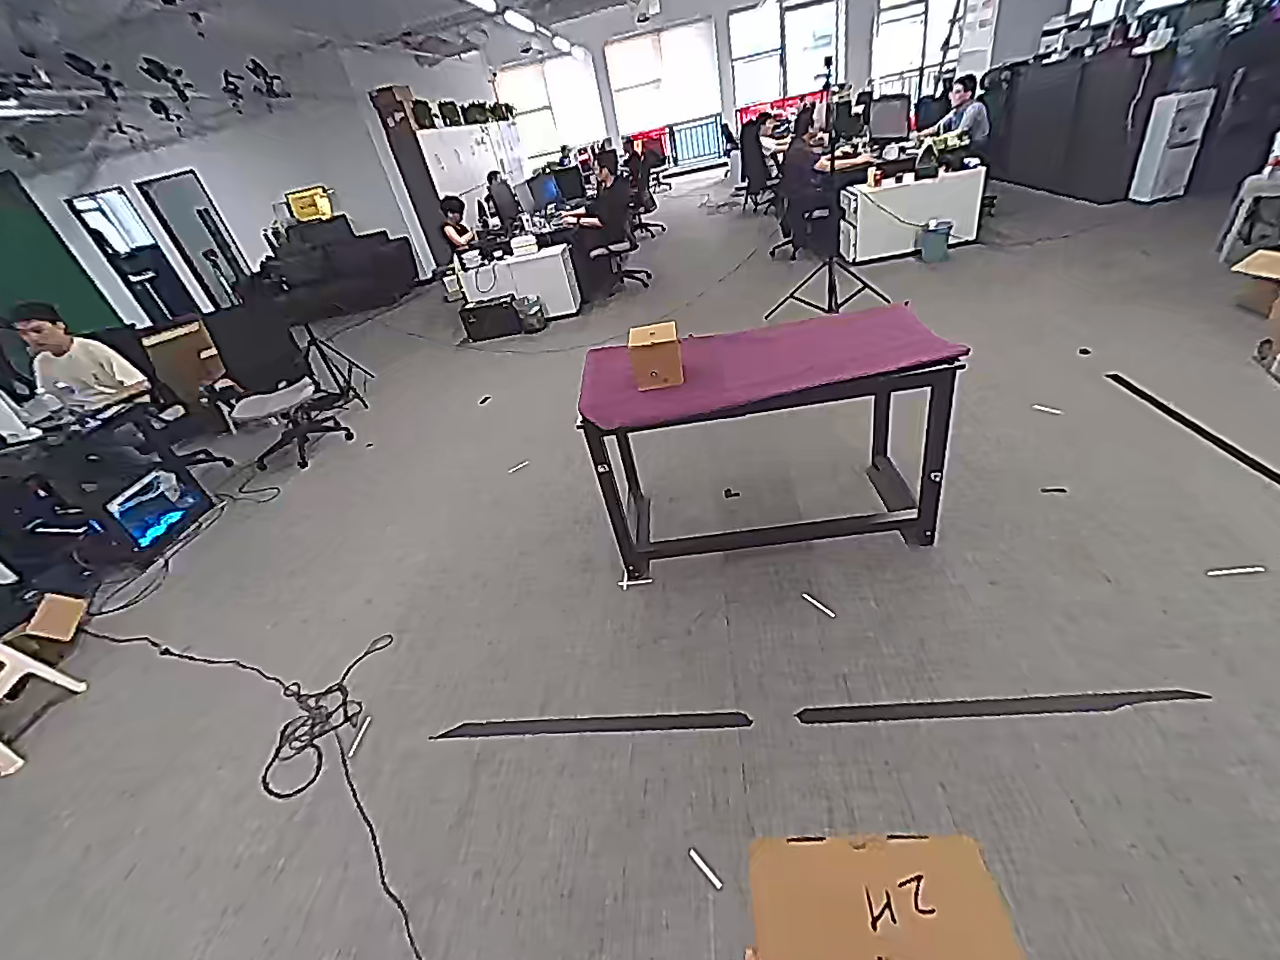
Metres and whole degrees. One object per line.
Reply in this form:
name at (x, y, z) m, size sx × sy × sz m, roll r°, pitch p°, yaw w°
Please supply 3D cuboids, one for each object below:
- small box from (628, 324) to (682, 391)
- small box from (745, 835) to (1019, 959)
small box at (0.055, -0.435, 1.917) m, size 0.168 × 0.176 × 0.179 m, roll -8°, pitch 35°, yaw 6°
small box at (0.170, 0.382, 0.385) m, size 0.168 × 0.176 × 0.179 m, roll -5°, pitch 37°, yaw 7°
